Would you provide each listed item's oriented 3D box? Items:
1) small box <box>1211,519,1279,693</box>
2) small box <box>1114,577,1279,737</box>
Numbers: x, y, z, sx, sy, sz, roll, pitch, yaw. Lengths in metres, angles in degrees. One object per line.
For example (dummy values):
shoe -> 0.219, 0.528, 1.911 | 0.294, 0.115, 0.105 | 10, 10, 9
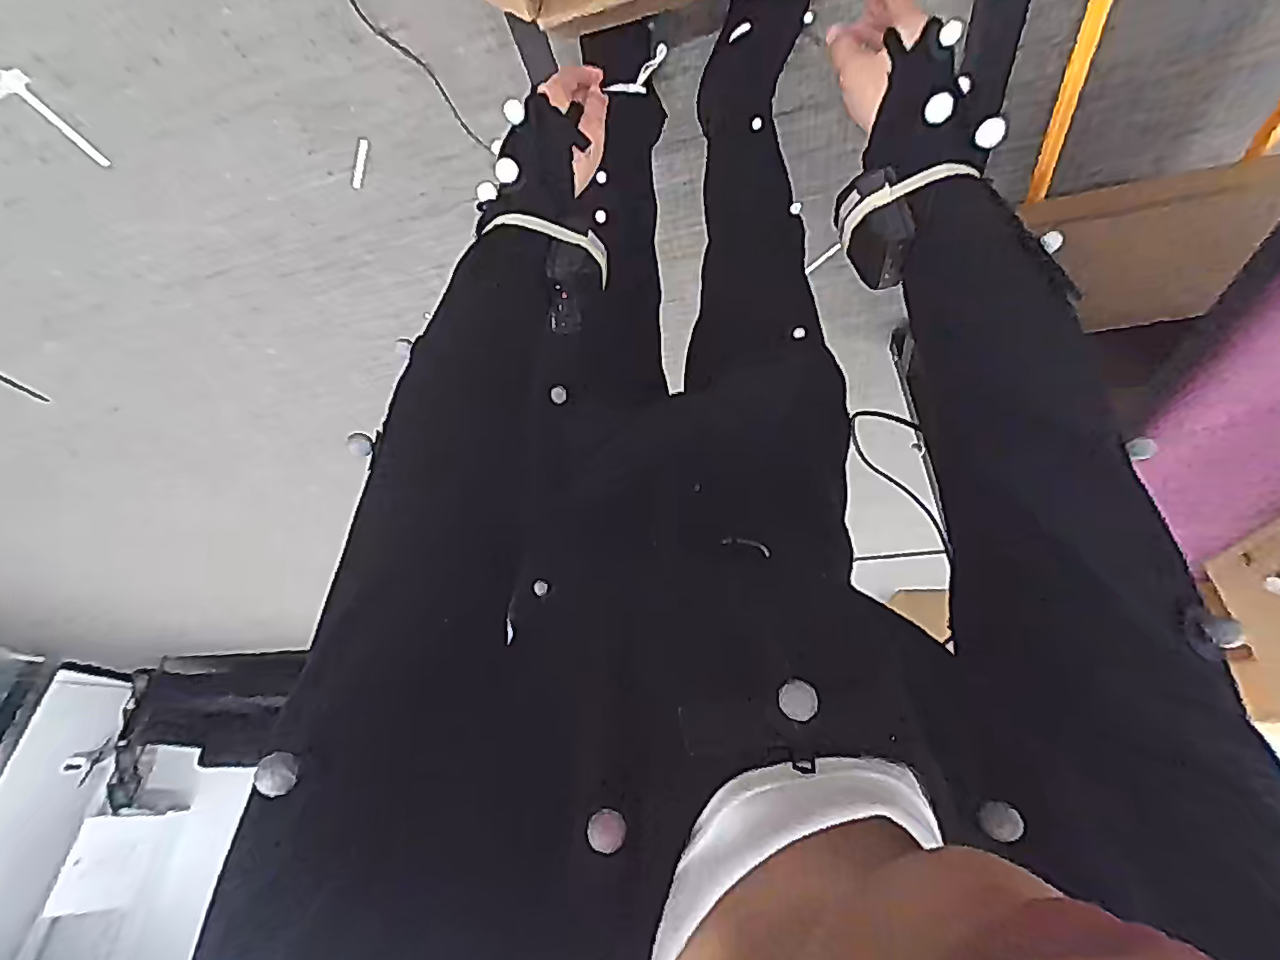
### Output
small box -> 0.716, 0.113, 0.498 | 0.179, 0.176, 0.168 | -6, 148, 11
small box -> 0.771, 0.232, 0.700 | 0.168, 0.176, 0.179 | -5, 148, 9
